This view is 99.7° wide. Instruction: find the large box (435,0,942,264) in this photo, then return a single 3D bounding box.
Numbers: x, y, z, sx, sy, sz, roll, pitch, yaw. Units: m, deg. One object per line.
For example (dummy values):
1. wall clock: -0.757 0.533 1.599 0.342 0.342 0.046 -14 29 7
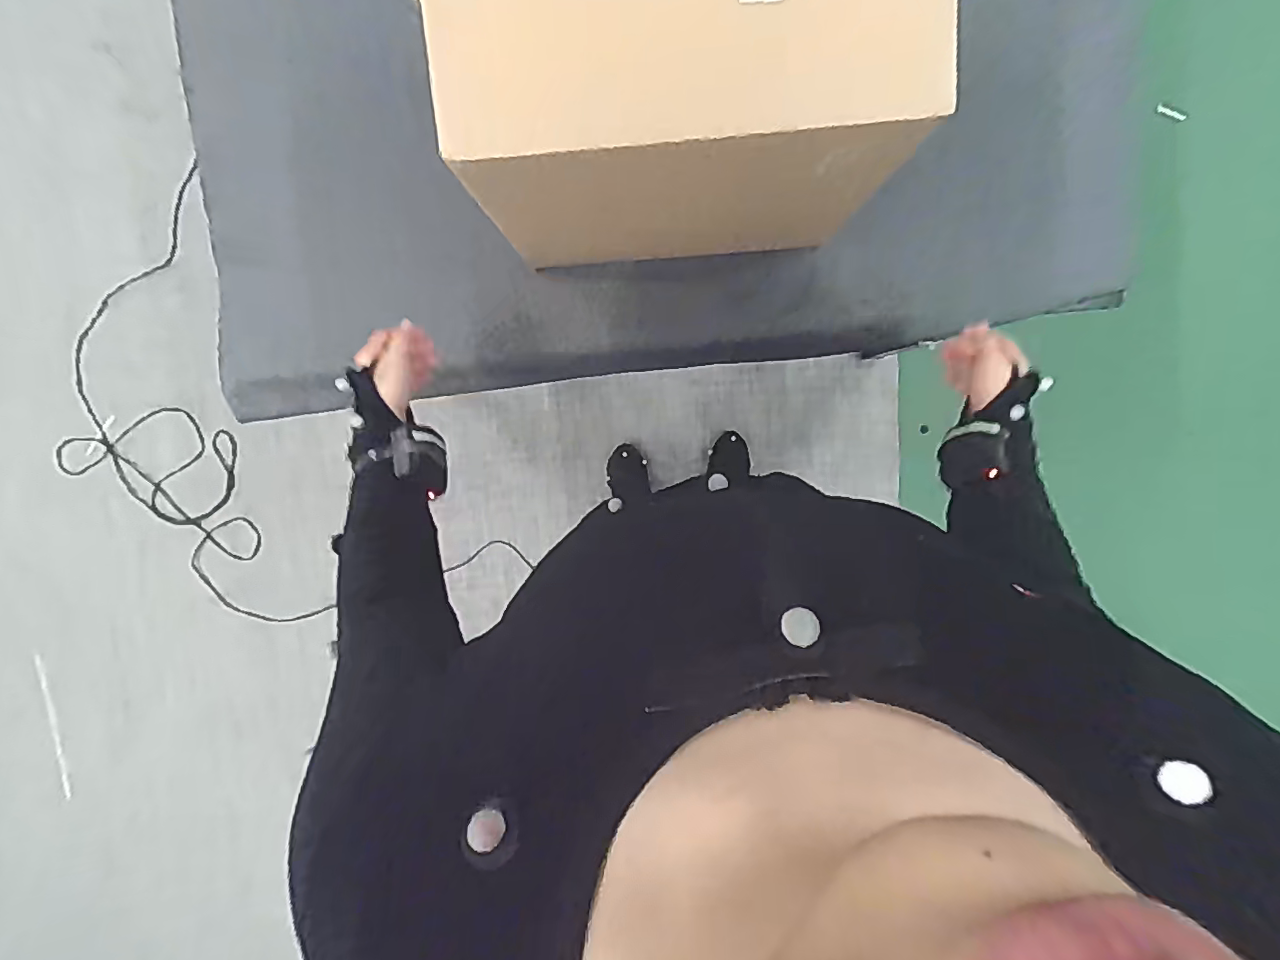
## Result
1. large box: 0.032 -0.444 0.568 0.408 0.320 0.320 -4 97 1
